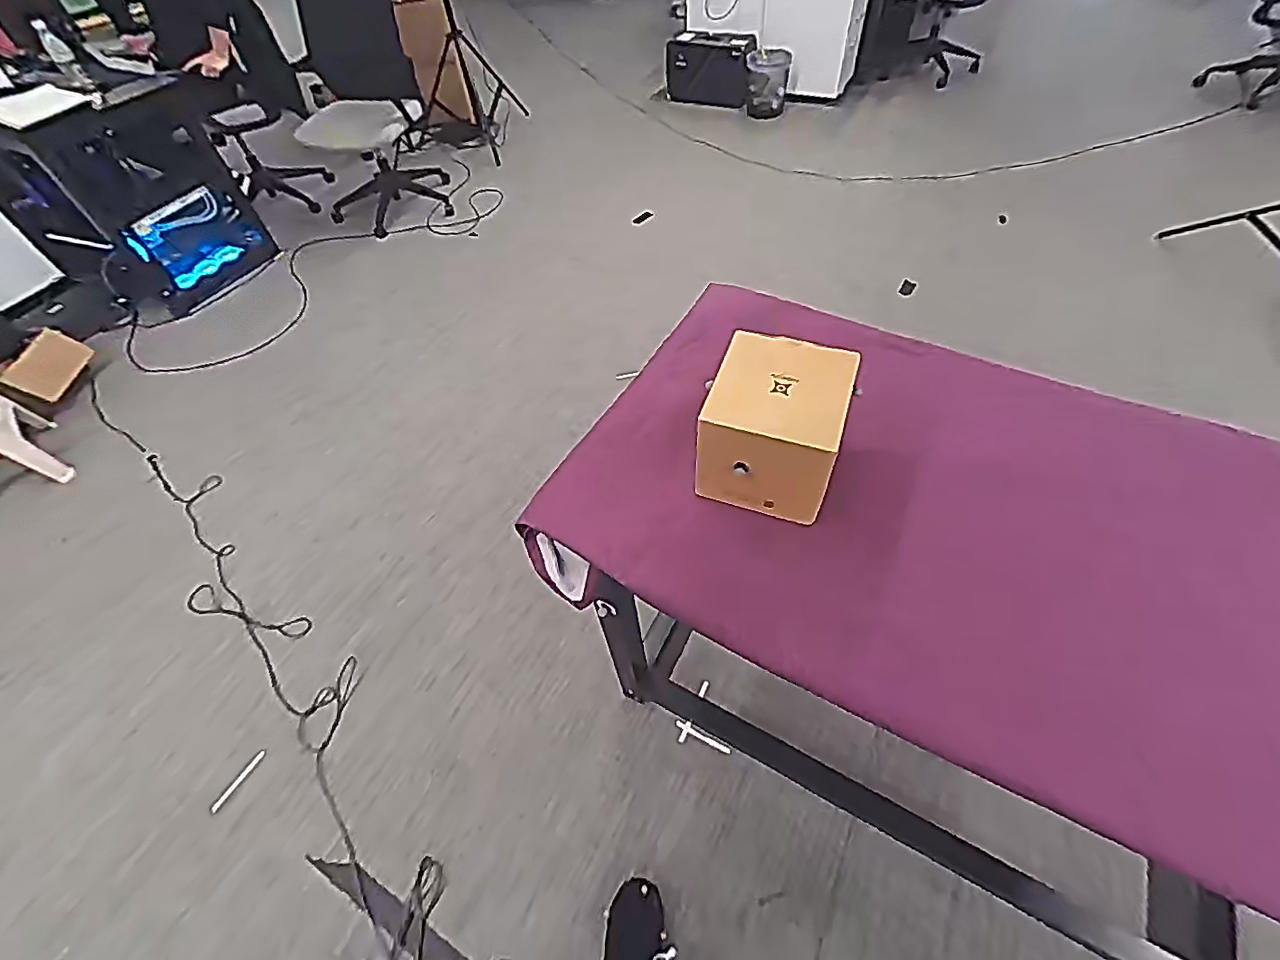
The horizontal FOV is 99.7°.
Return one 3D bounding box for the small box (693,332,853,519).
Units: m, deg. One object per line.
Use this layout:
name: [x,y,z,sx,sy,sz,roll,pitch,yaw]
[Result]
small box: [0.177,-0.071,0.739,0.168,0.176,0.179,15,56,15]
